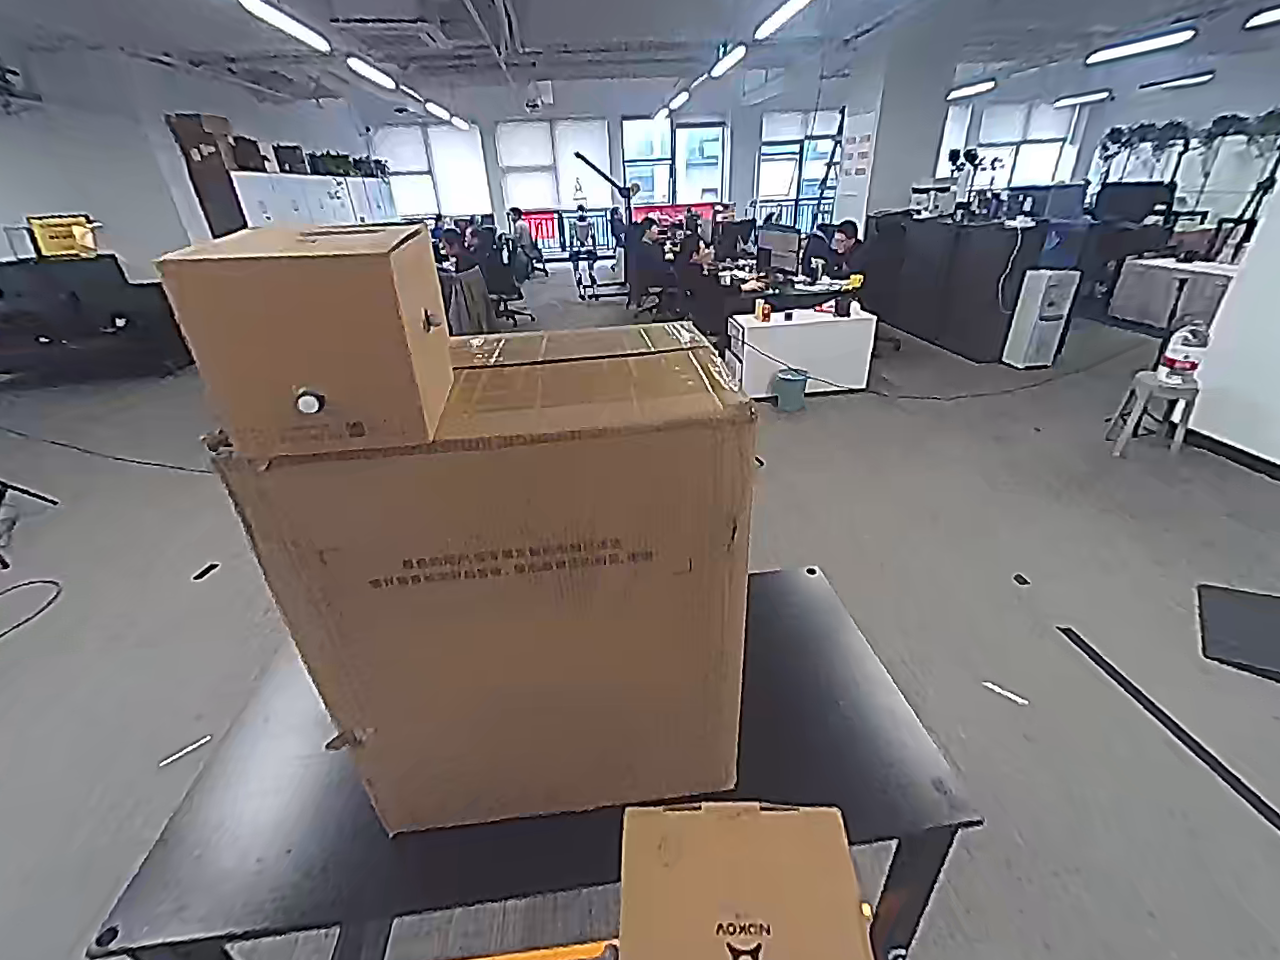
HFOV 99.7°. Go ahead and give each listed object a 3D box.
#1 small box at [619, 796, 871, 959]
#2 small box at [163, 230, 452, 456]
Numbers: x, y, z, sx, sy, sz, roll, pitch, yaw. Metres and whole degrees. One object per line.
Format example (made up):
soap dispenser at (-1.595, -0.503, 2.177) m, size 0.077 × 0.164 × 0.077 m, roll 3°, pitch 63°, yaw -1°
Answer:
small box at (0.070, 0.363, 0.409) m, size 0.168 × 0.176 × 0.179 m, roll -2°, pitch 43°, yaw 2°
small box at (-0.285, -0.138, 0.519) m, size 0.168 × 0.176 × 0.179 m, roll -6°, pitch 32°, yaw -8°
